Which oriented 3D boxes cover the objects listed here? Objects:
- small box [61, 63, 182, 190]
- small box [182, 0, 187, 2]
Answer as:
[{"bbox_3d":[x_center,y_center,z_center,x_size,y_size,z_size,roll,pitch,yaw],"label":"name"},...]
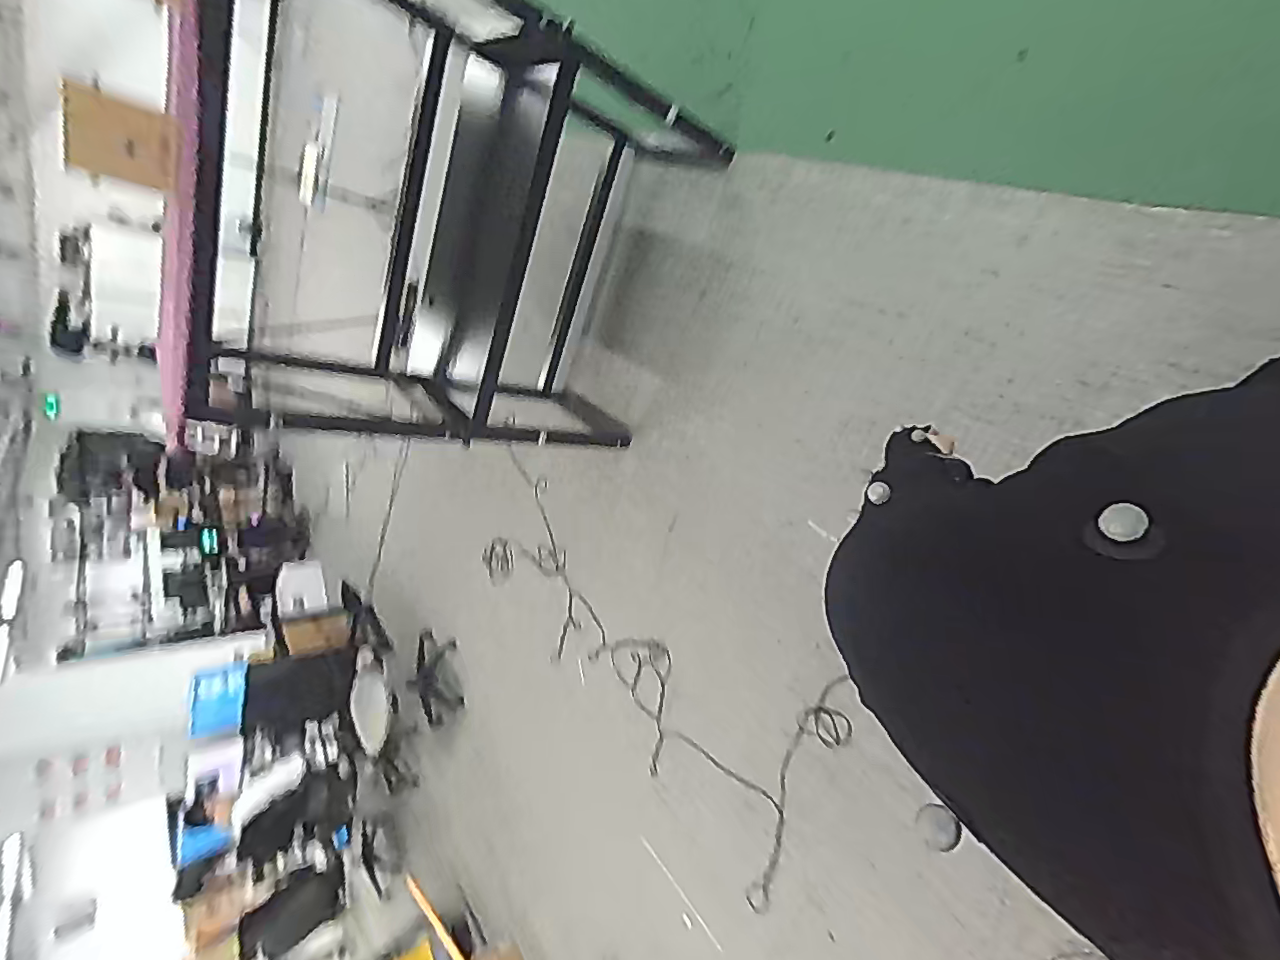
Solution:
[{"bbox_3d":[-1.054,-0.718,1.108,0.179,0.176,0.168,40,116,40],"label":"small box"},{"bbox_3d":[-0.914,-1.004,0.962,0.168,0.176,0.179,46,124,40],"label":"small box"}]
